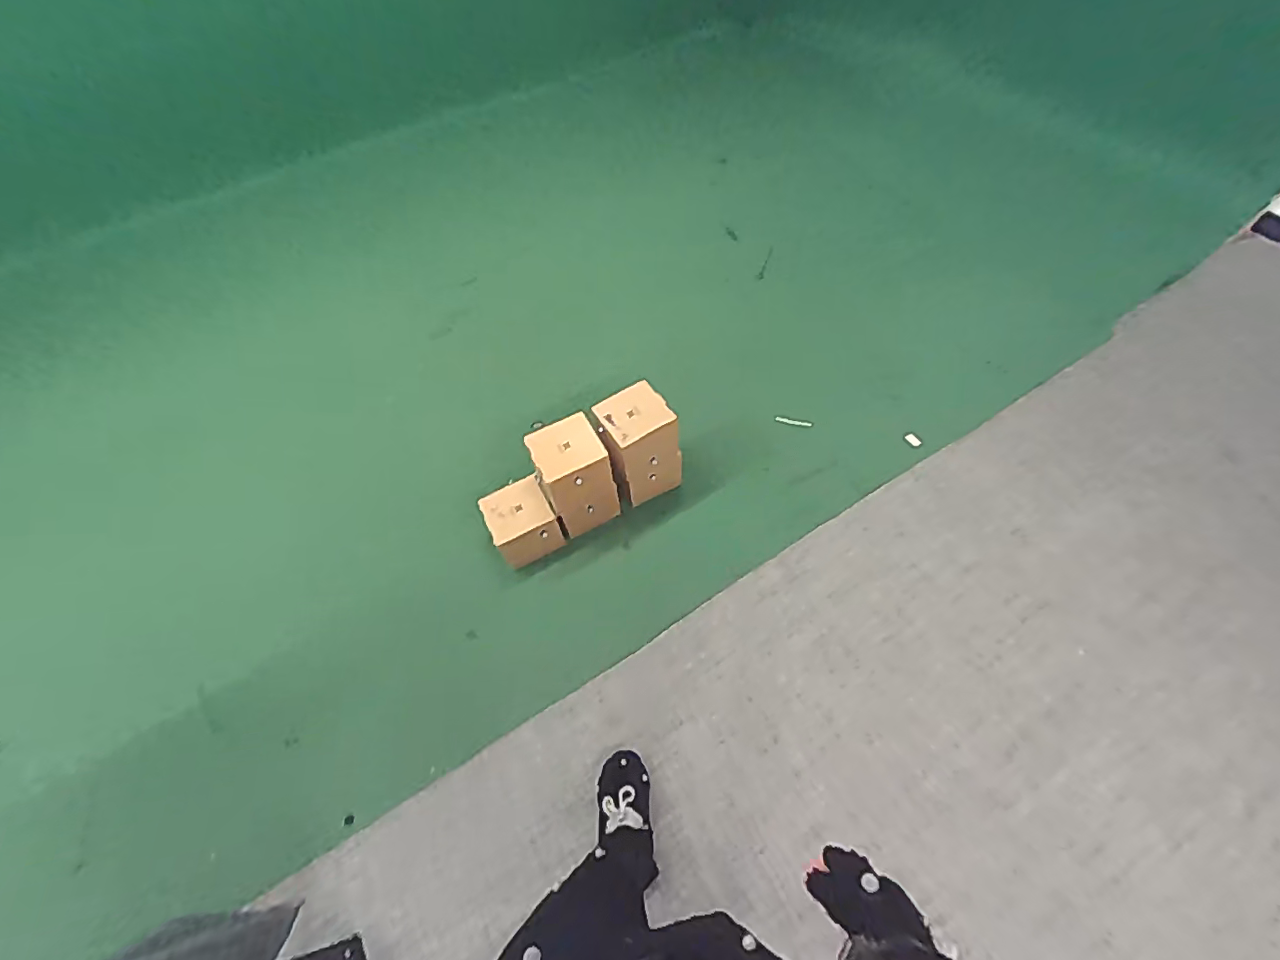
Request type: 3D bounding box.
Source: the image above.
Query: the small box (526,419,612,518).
[{"bbox_3d":[-0.185,-0.028,1.469,0.179,0.176,0.168,-26,60,-10],"label":"small box"}]

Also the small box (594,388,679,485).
[{"bbox_3d":[-0.009,-0.118,1.511,0.179,0.176,0.168,-29,60,-15],"label":"small box"}]
